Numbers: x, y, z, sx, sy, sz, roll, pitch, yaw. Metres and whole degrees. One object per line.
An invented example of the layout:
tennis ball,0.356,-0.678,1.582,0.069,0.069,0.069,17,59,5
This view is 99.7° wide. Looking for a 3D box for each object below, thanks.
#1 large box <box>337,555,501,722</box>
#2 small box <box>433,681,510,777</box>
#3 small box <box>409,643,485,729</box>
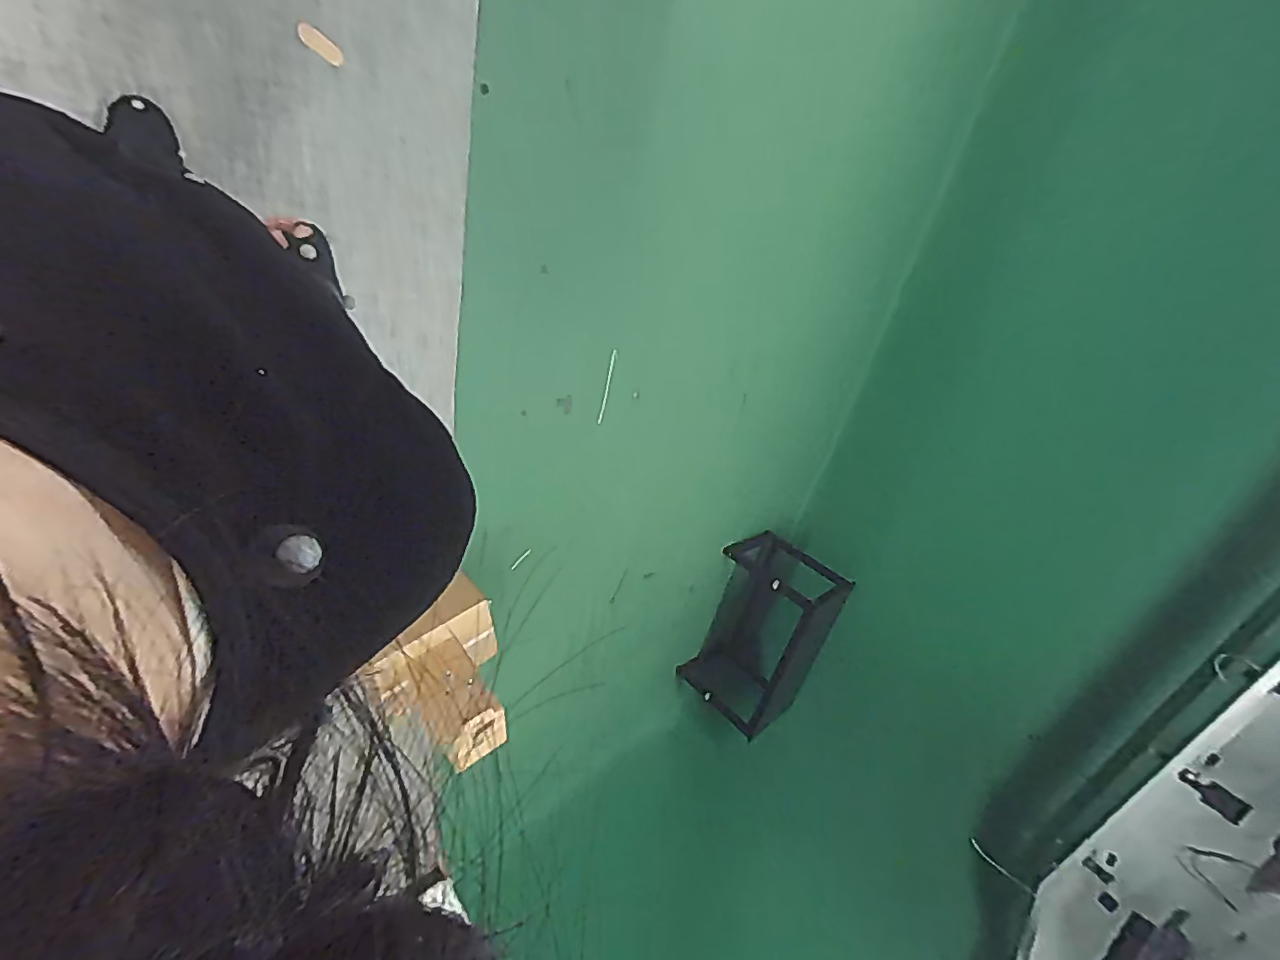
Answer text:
large box,-0.761,0.538,1.896,0.408,0.320,0.320,-29,138,-34
small box,-0.512,0.744,1.642,0.168,0.176,0.179,-23,133,-37
small box,-0.615,0.662,1.740,0.179,0.176,0.168,-25,133,-36
